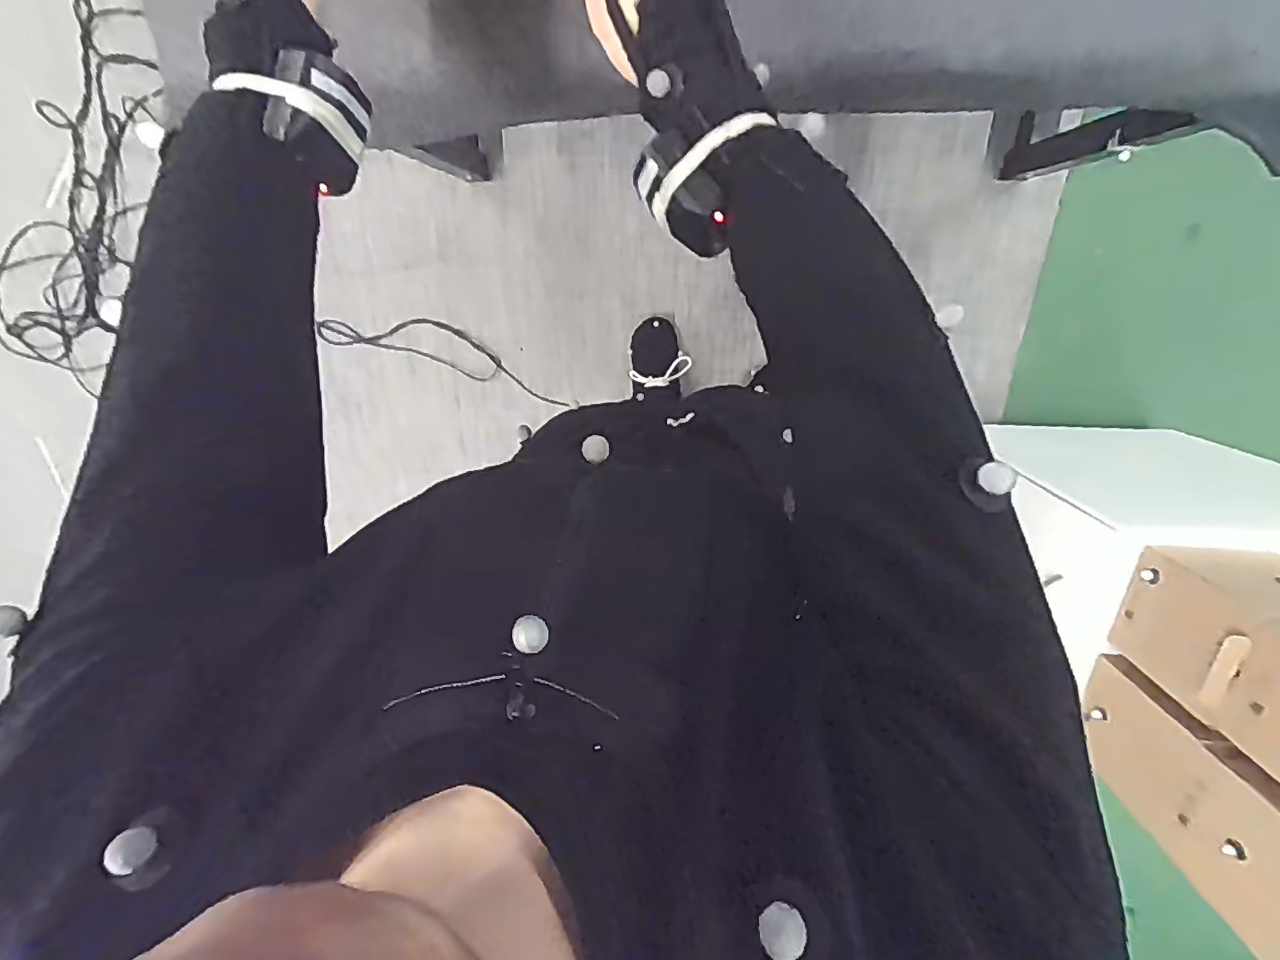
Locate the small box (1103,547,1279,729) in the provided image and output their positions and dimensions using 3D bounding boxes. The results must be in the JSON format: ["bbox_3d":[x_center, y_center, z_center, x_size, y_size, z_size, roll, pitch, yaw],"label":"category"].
[{"bbox_3d":[0.772,0.198,0.709,0.179,0.176,0.168,2,112,1],"label":"small box"}]
